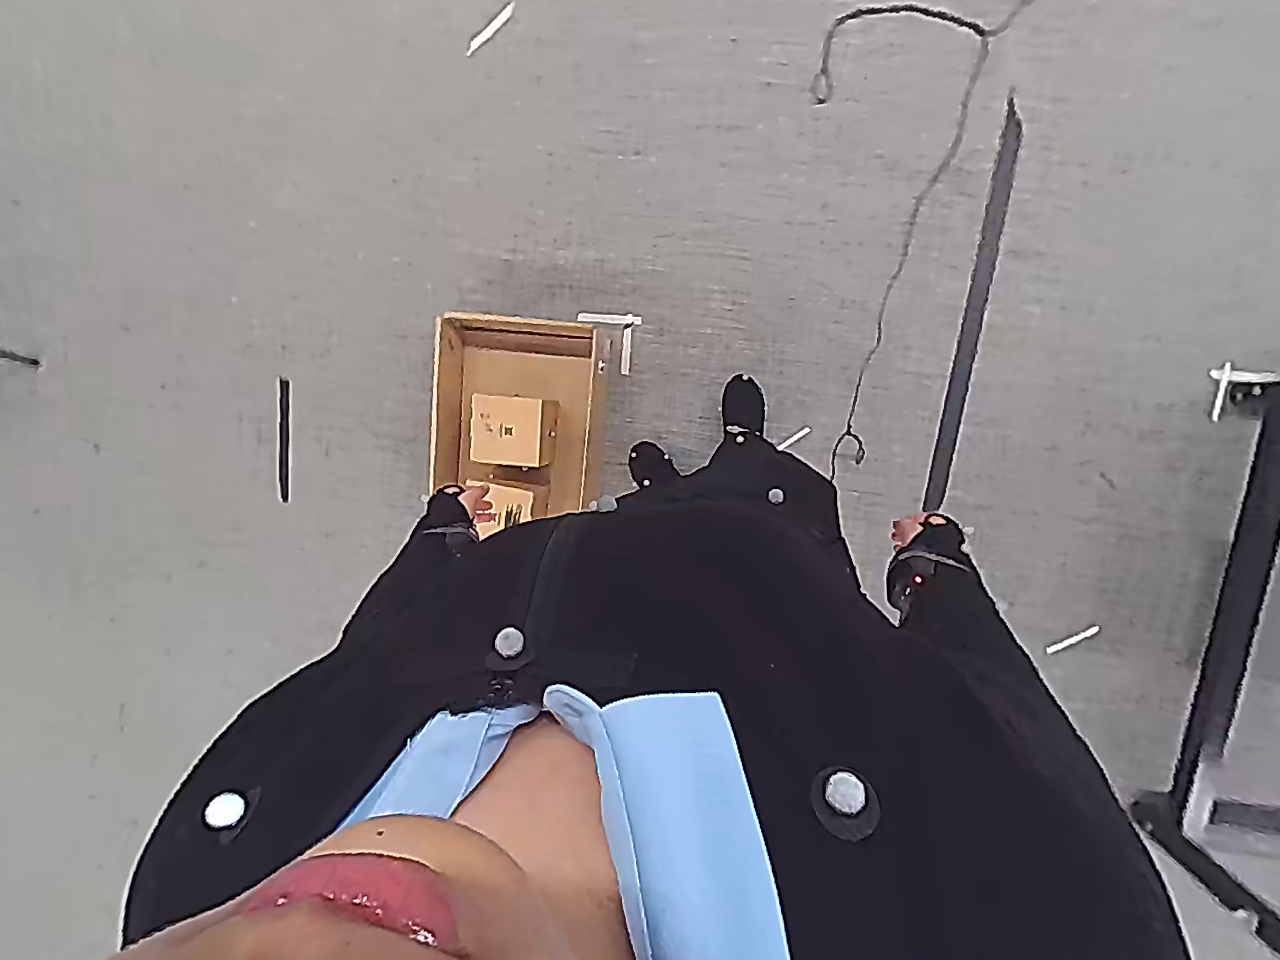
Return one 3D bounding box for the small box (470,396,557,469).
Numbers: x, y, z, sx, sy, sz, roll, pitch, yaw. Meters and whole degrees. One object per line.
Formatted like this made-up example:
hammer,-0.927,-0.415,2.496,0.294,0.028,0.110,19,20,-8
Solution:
small box,-0.317,-0.124,1.382,0.179,0.176,0.168,5,97,5
